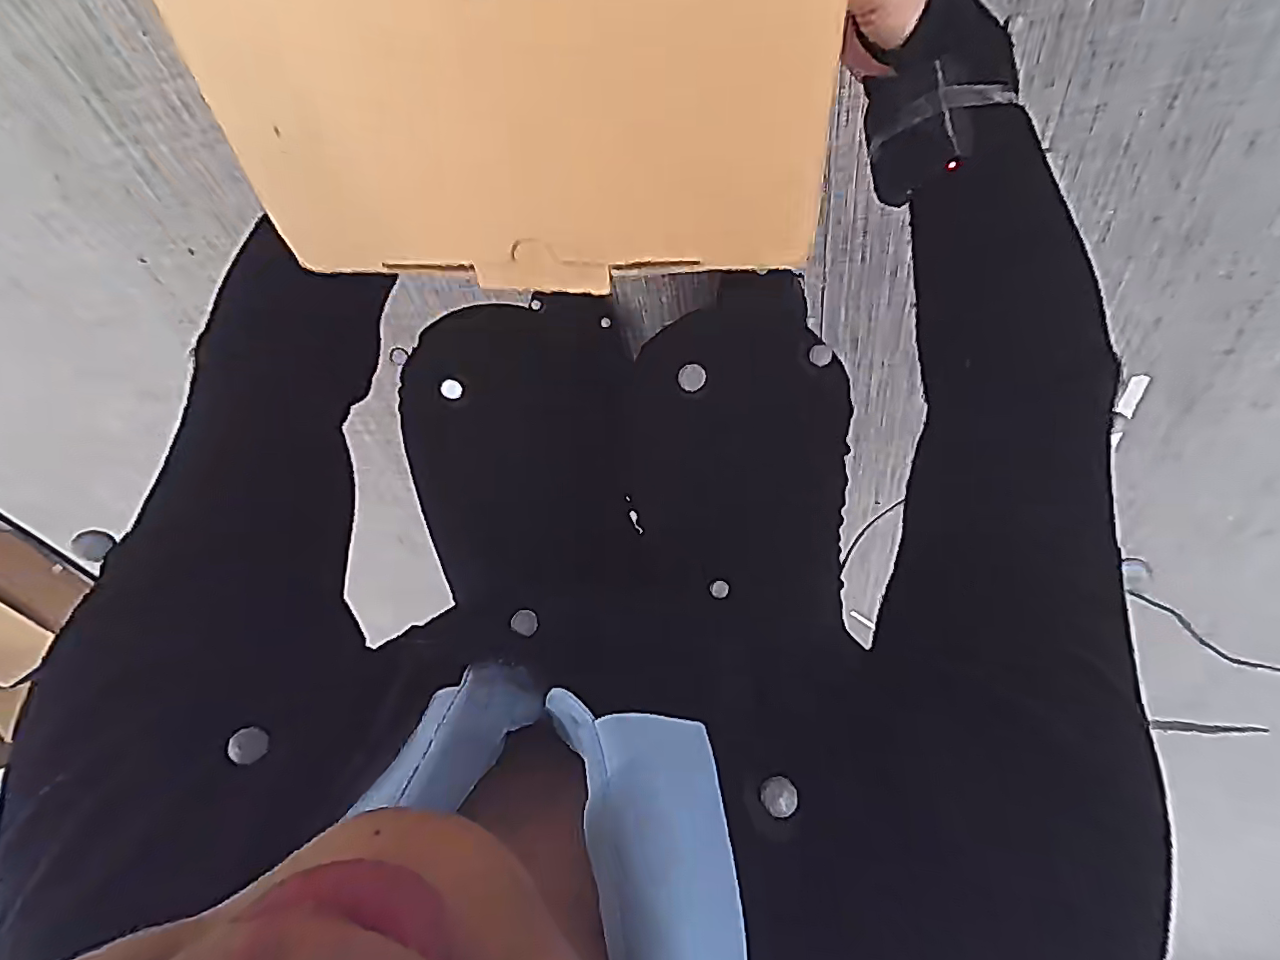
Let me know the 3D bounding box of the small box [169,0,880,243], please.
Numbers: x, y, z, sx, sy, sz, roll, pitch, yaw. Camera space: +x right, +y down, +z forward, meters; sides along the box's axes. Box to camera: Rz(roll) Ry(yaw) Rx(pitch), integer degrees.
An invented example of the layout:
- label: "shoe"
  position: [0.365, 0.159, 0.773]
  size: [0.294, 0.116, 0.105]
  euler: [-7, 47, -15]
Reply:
- label: "small box"
  position: [-0.022, -0.189, 0.153]
  size: [0.168, 0.176, 0.179]
  euler: [3, 137, 9]
